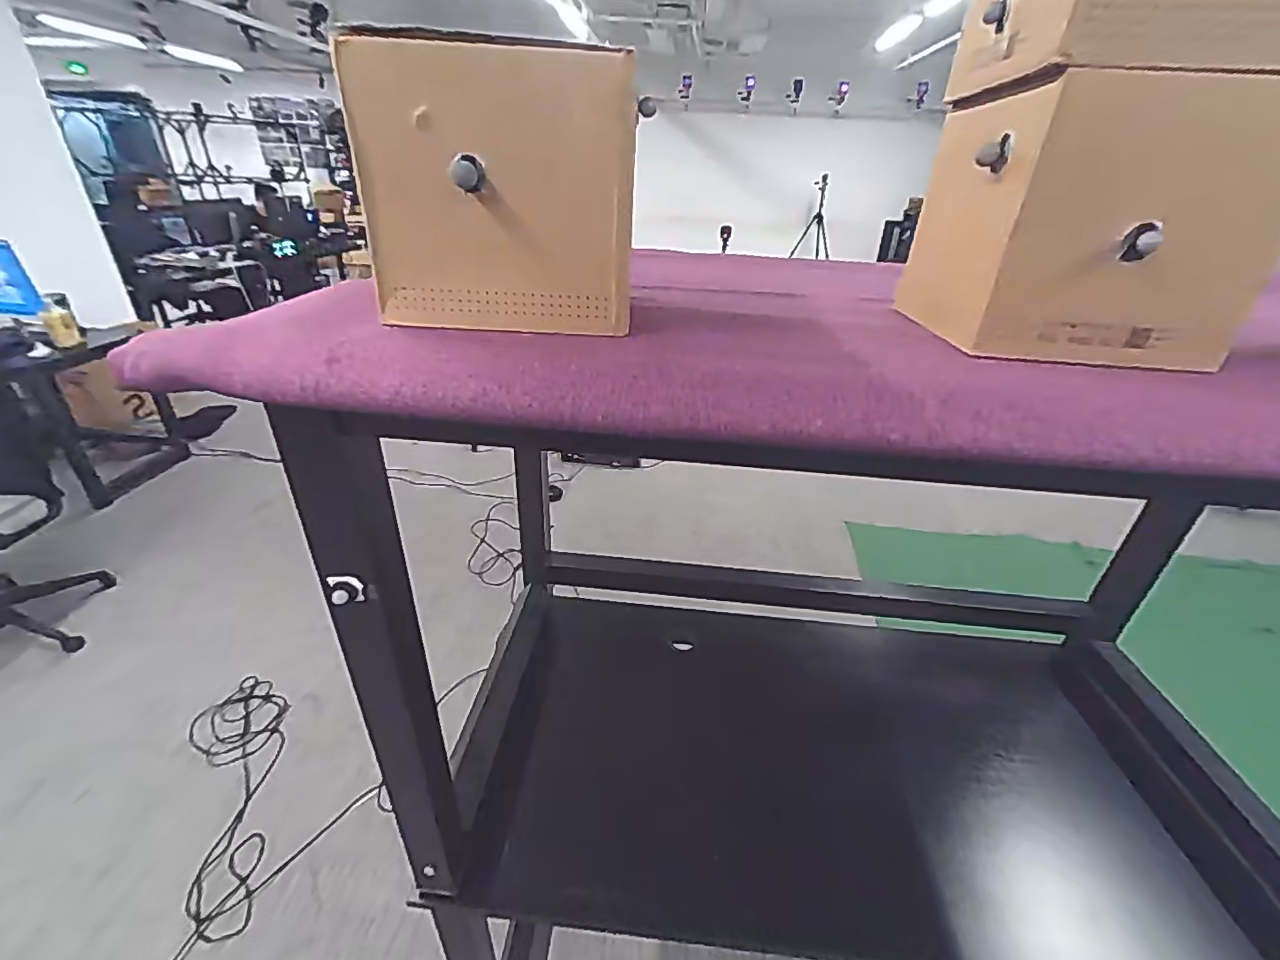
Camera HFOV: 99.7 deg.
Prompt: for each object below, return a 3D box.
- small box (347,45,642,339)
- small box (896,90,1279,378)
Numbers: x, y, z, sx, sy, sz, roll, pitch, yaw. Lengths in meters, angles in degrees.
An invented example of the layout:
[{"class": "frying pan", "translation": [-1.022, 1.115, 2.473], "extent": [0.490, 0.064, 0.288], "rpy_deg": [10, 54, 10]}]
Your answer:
[{"class": "small box", "translation": [-0.089, -0.214, 0.423], "extent": [0.179, 0.176, 0.168], "rpy_deg": [2, 31, -2]}, {"class": "small box", "translation": [0.327, -0.187, 0.422], "extent": [0.168, 0.176, 0.179], "rpy_deg": [6, 29, 3]}]
